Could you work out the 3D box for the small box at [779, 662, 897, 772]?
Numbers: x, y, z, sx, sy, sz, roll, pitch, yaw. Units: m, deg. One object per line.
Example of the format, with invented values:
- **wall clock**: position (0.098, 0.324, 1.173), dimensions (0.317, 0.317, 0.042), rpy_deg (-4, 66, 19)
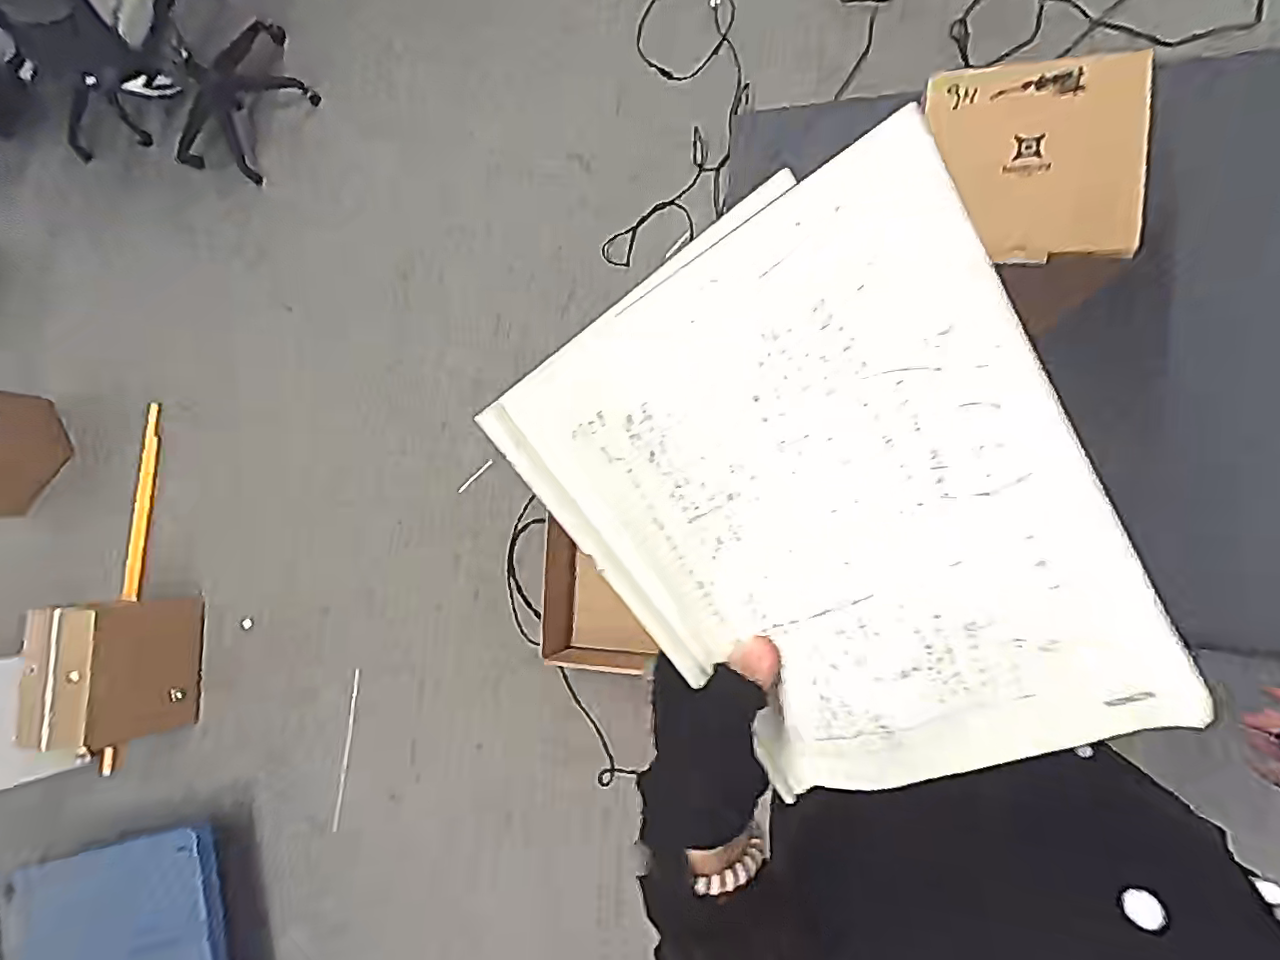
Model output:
- **small box**: position (0.428, 0.517, 1.187), dimensions (0.168, 0.176, 0.179), rpy_deg (-36, 54, 19)
